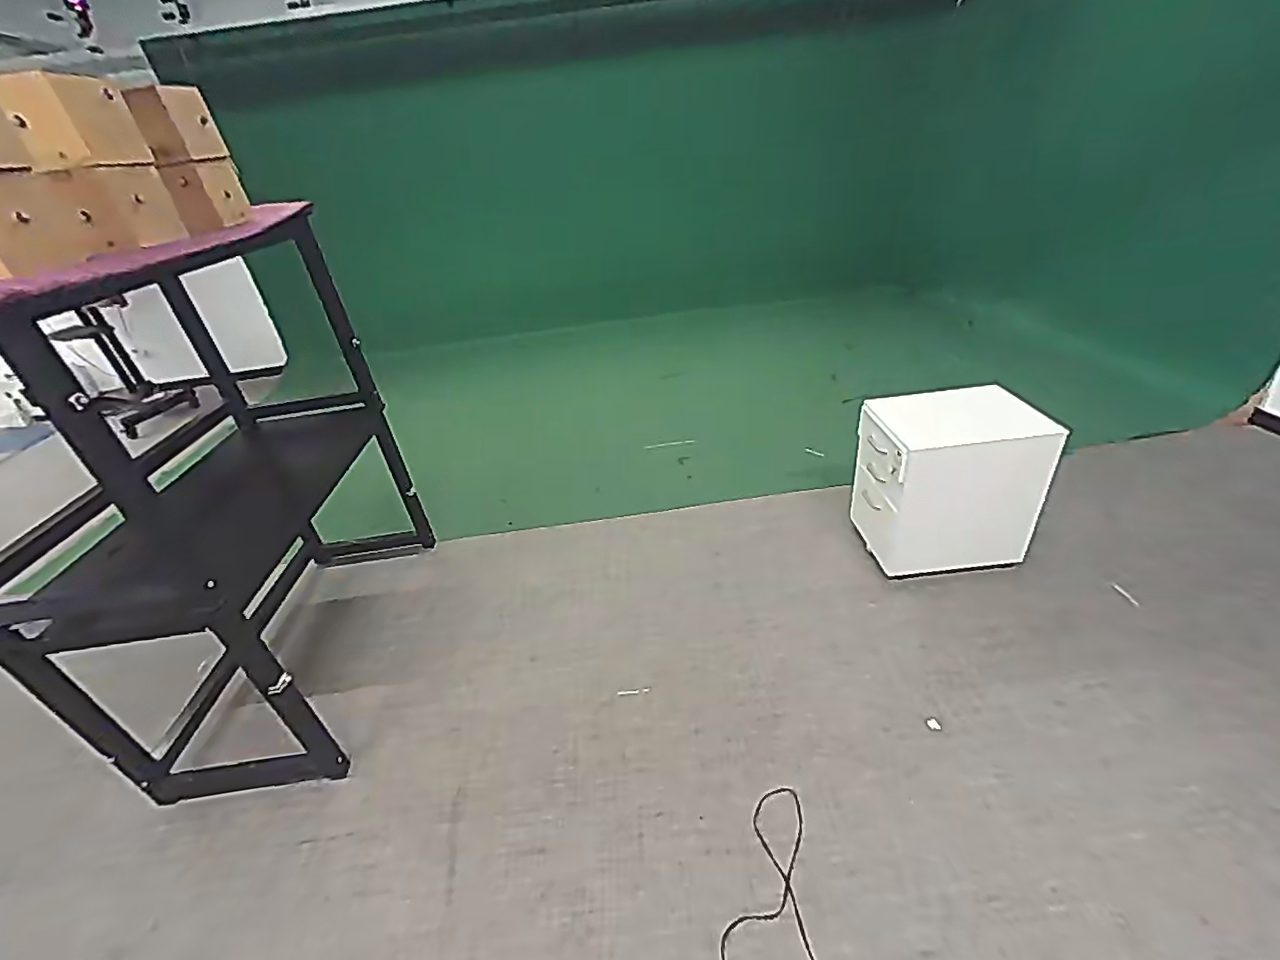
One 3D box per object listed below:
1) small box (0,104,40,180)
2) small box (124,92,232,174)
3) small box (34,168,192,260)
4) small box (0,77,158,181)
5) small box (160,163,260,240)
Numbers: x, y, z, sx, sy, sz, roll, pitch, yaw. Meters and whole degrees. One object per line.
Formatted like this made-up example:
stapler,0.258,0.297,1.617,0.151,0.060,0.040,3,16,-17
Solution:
small box,-1.187,-0.589,0.896,0.168,0.176,0.179,-9,31,-4
small box,-1.263,-0.937,1.469,0.168,0.176,0.179,-10,35,2
small box,-1.220,-0.623,1.273,0.168,0.176,0.179,-7,32,1
small box,-1.234,-0.764,1.190,0.168,0.176,0.179,-6,31,3
small box,-1.255,-0.803,1.561,0.179,0.176,0.168,-9,33,2
